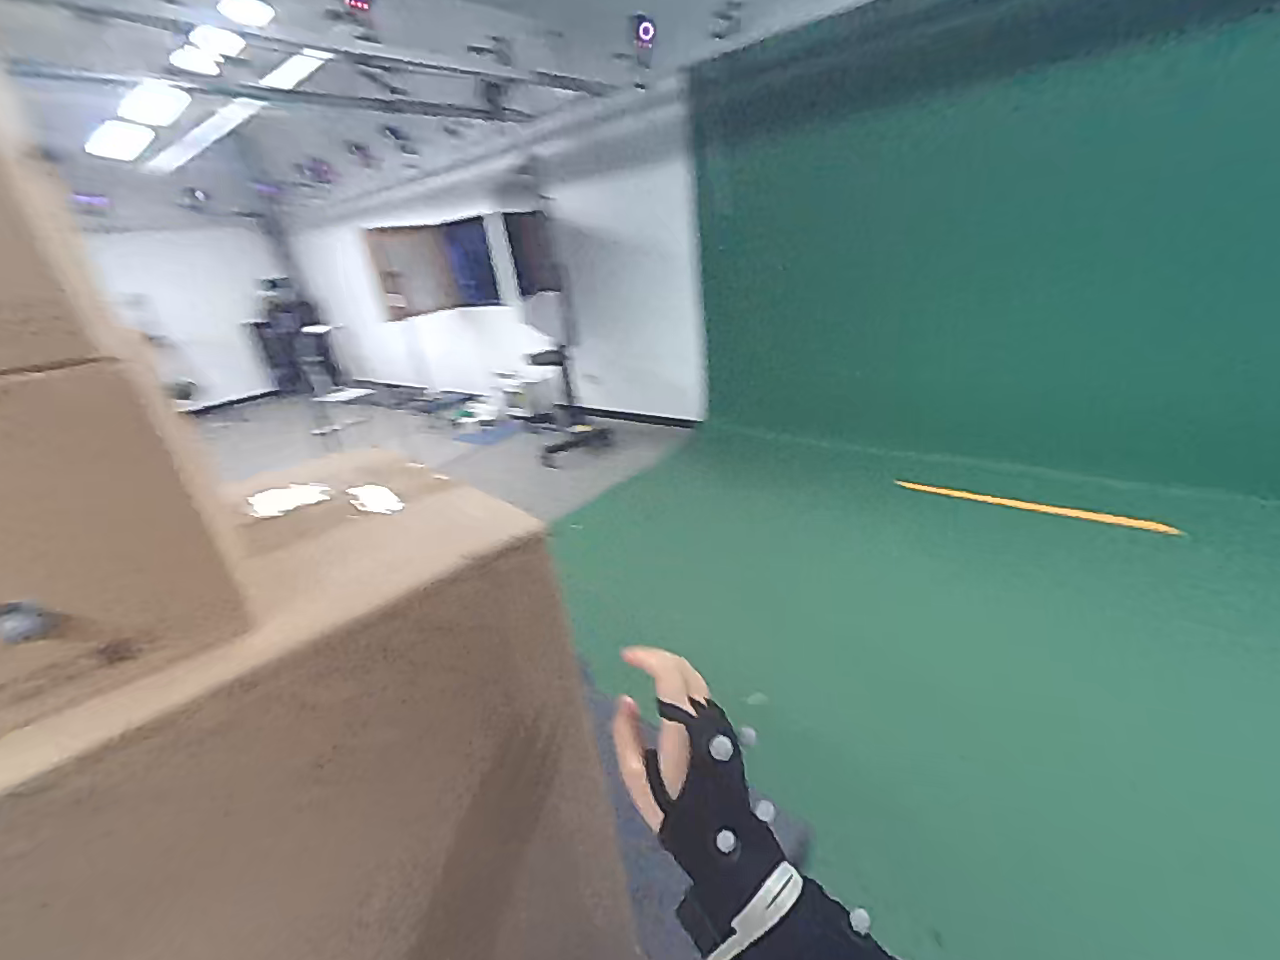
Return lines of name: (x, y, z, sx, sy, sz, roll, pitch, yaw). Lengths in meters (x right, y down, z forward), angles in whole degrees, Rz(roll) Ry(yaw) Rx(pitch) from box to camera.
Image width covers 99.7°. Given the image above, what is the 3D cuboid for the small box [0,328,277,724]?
small box: (-0.347, 0.013, 0.323, 0.168, 0.176, 0.179, -23, 32, -33)
